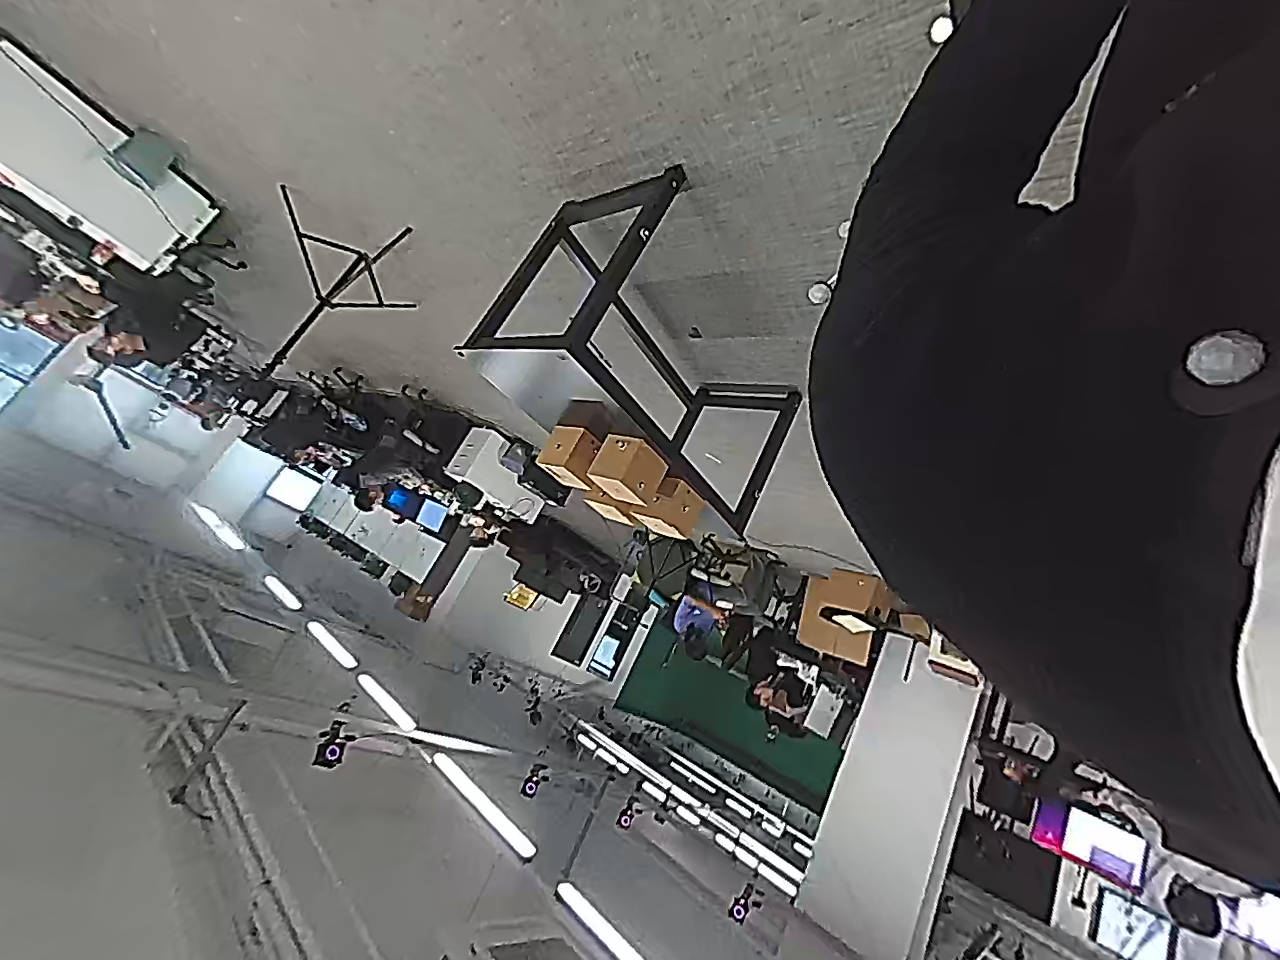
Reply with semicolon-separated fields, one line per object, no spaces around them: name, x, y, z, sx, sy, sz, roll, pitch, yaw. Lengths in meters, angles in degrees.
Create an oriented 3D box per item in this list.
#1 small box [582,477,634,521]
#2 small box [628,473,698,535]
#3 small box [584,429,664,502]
small box;-0.097;0.042;2.187;0.179;0.176;0.168;12;158;41
small box;0.094;0.082;1.999;0.179;0.176;0.168;9;155;48
small box;-0.048;-0.050;1.829;0.168;0.176;0.179;11;156;43
